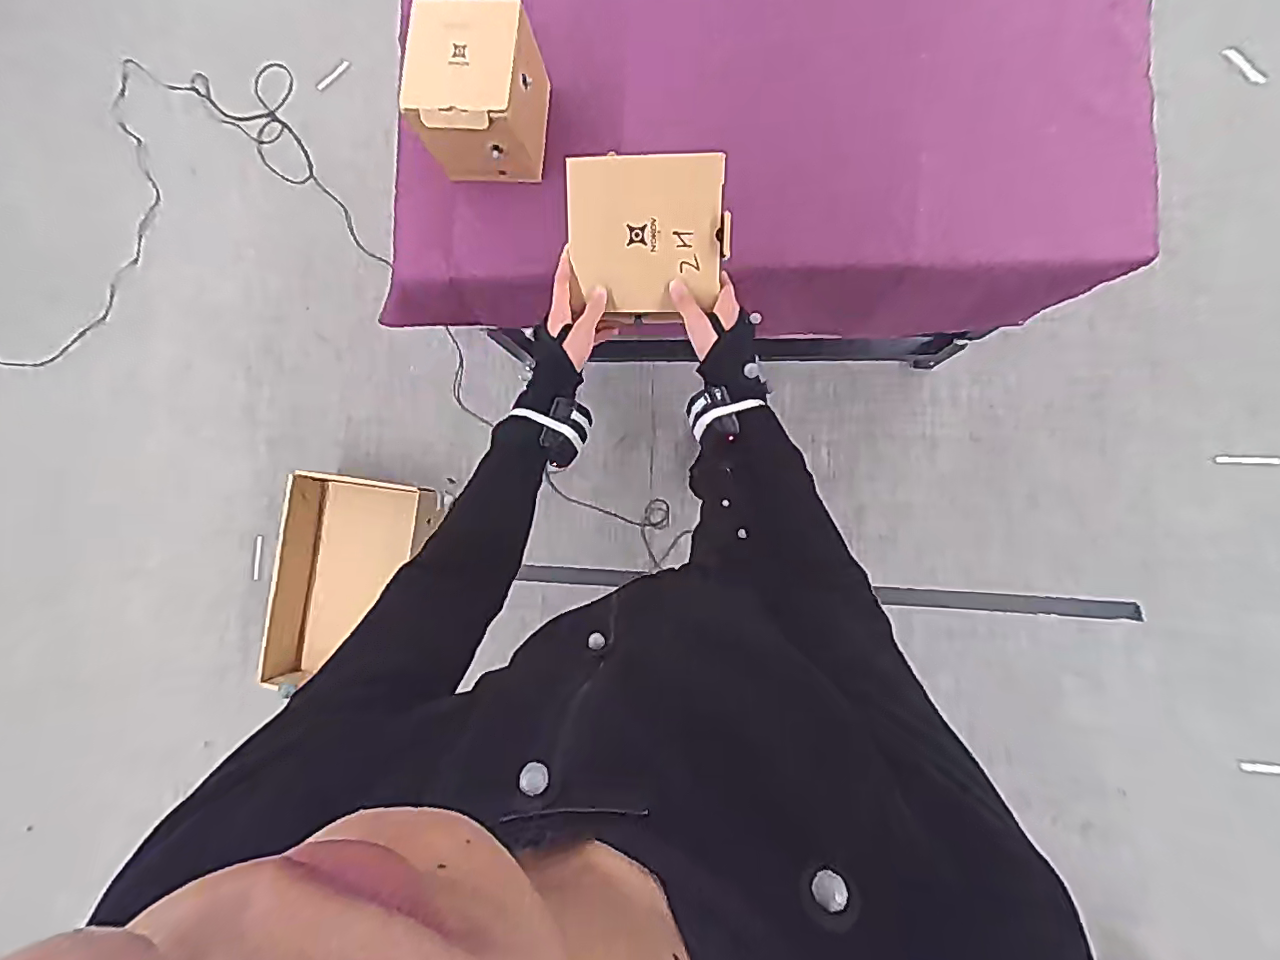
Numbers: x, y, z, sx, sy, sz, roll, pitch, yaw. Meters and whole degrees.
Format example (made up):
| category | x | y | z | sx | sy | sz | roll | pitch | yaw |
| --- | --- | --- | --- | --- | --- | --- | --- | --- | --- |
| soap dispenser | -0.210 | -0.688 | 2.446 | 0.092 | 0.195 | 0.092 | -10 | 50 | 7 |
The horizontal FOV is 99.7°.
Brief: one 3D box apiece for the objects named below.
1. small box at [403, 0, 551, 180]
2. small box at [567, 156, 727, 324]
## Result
| category | x | y | z | sx | sy | sz | roll | pitch | yaw |
| --- | --- | --- | --- | --- | --- | --- | --- | --- | --- |
| small box | -0.246 | -0.606 | 0.857 | 0.168 | 0.176 | 0.179 | 6 | 87 | 6 |
| small box | 0.013 | -0.284 | 0.676 | 0.179 | 0.176 | 0.168 | 1 | 103 | 5 |
